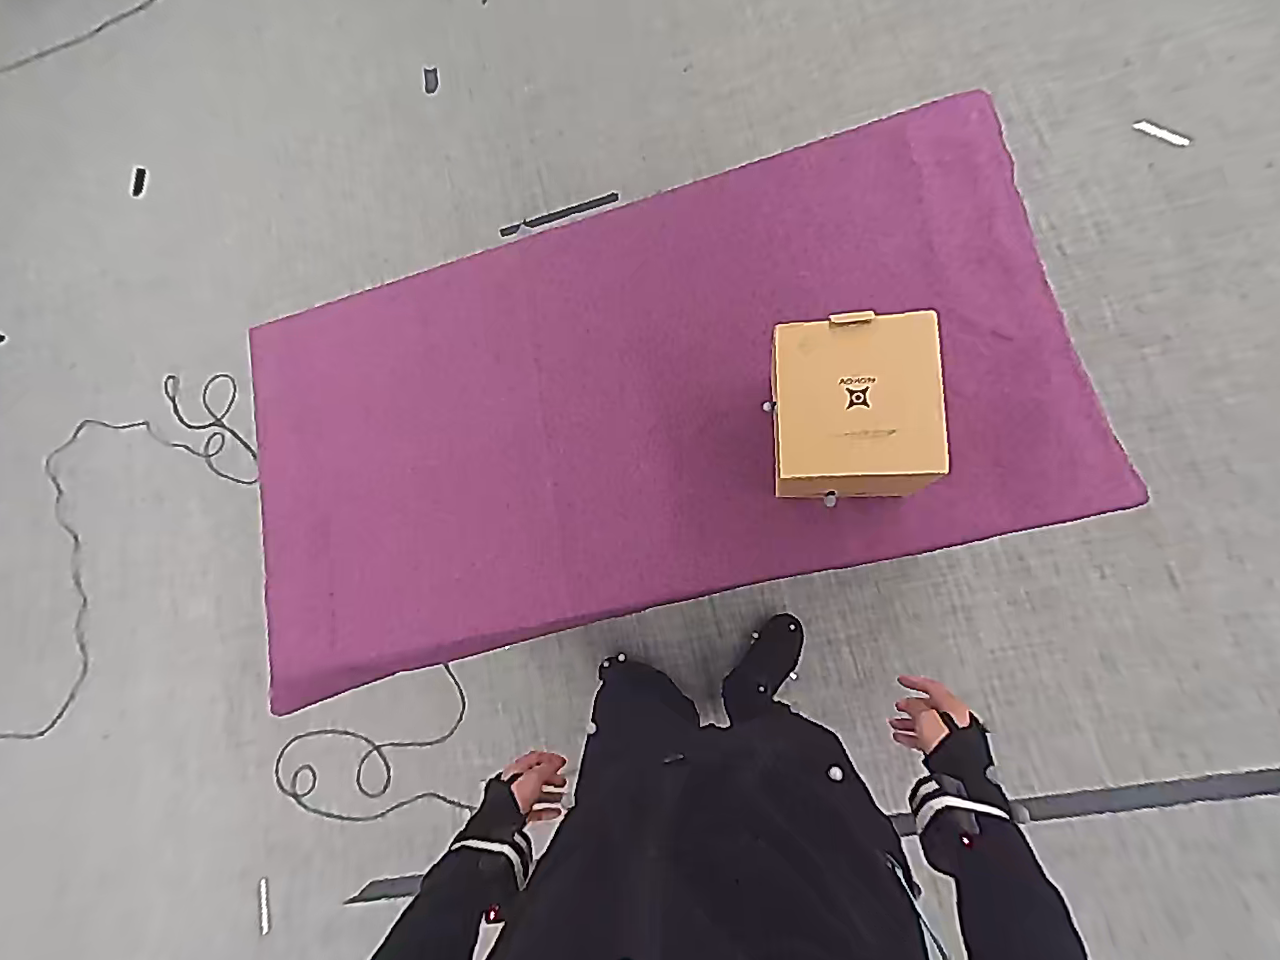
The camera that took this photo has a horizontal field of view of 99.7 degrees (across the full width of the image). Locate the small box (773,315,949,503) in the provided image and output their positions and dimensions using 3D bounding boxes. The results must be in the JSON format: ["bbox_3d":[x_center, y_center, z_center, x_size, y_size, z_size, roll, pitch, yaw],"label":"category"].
[{"bbox_3d":[0.244,-0.072,0.638,0.168,0.176,0.179,-1,80,13],"label":"small box"}]
